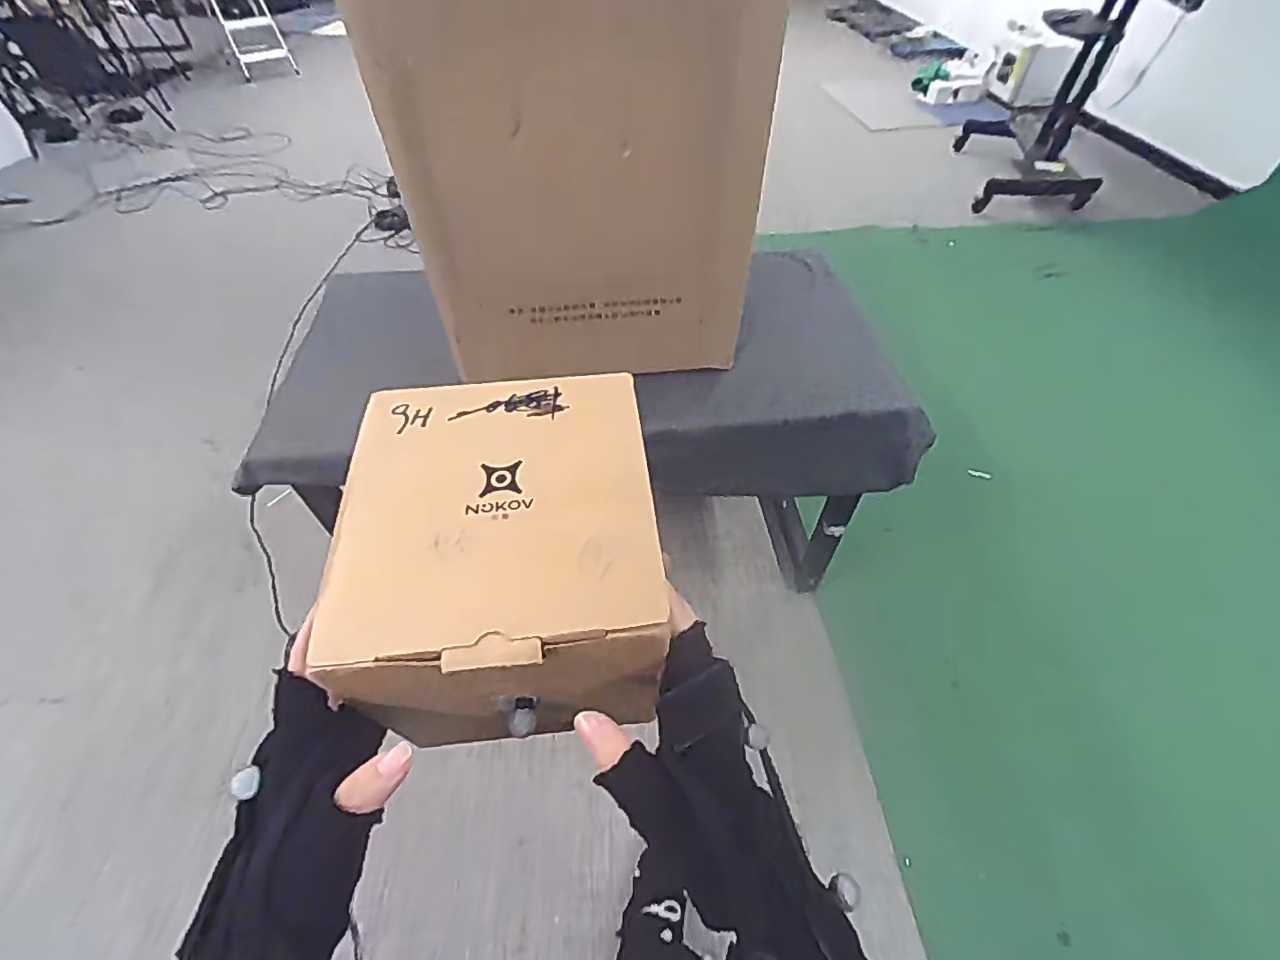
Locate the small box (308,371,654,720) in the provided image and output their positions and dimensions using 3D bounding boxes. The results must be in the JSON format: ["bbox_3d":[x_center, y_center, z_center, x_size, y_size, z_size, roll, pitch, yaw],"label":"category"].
[{"bbox_3d":[-0.080,0.052,0.363,0.168,0.176,0.179,-4,54,-4],"label":"small box"}]
